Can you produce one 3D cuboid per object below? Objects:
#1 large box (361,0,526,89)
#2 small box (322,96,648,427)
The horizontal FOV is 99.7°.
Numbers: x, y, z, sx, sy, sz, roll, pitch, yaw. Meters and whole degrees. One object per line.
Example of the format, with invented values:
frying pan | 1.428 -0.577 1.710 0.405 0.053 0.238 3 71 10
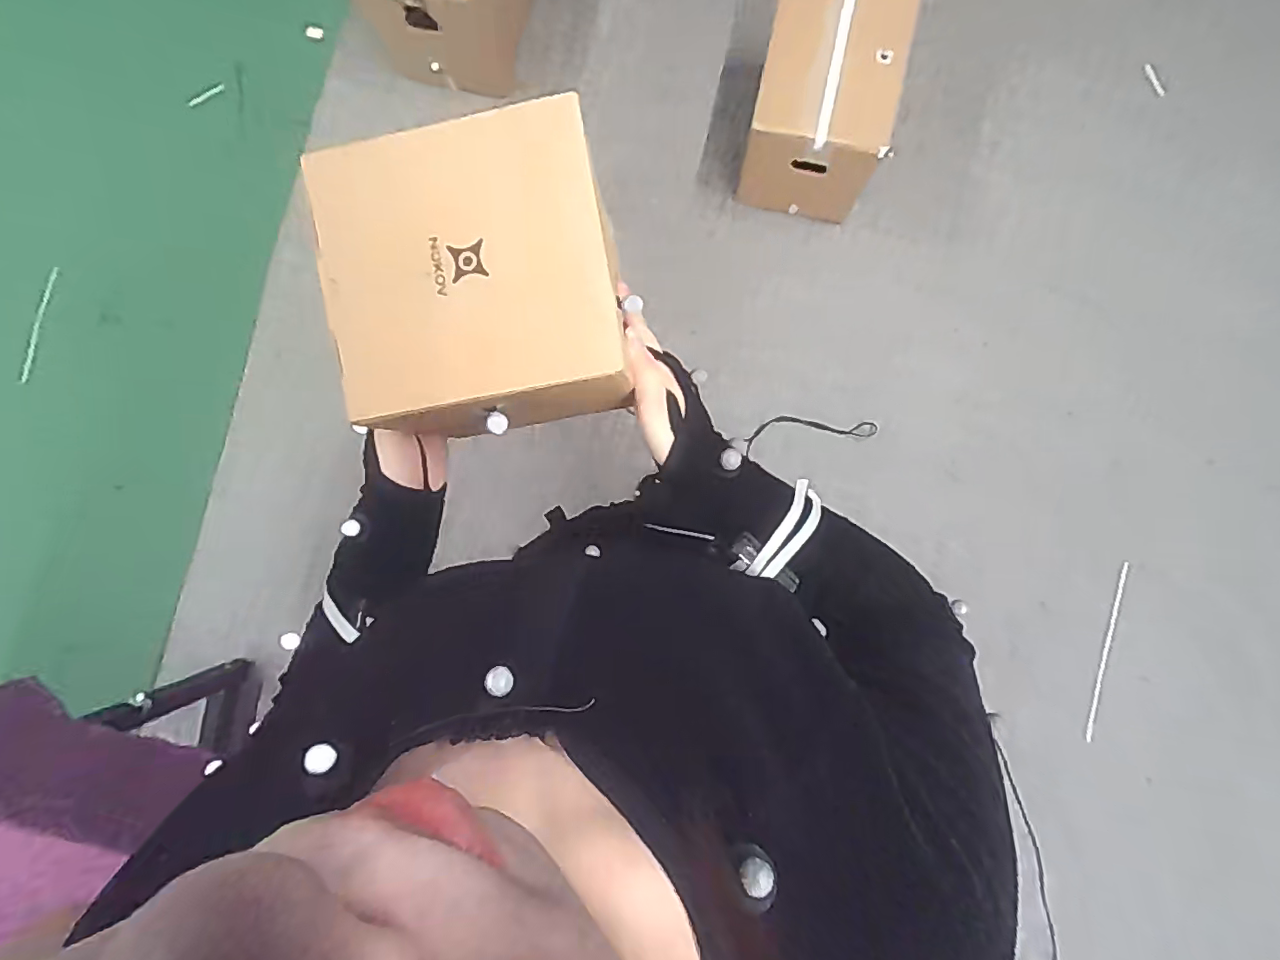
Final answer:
large box | -0.499 -1.343 1.416 0.320 0.320 0.408 13 88 3
small box | -0.090 -0.135 0.404 0.179 0.176 0.168 -9 92 5
